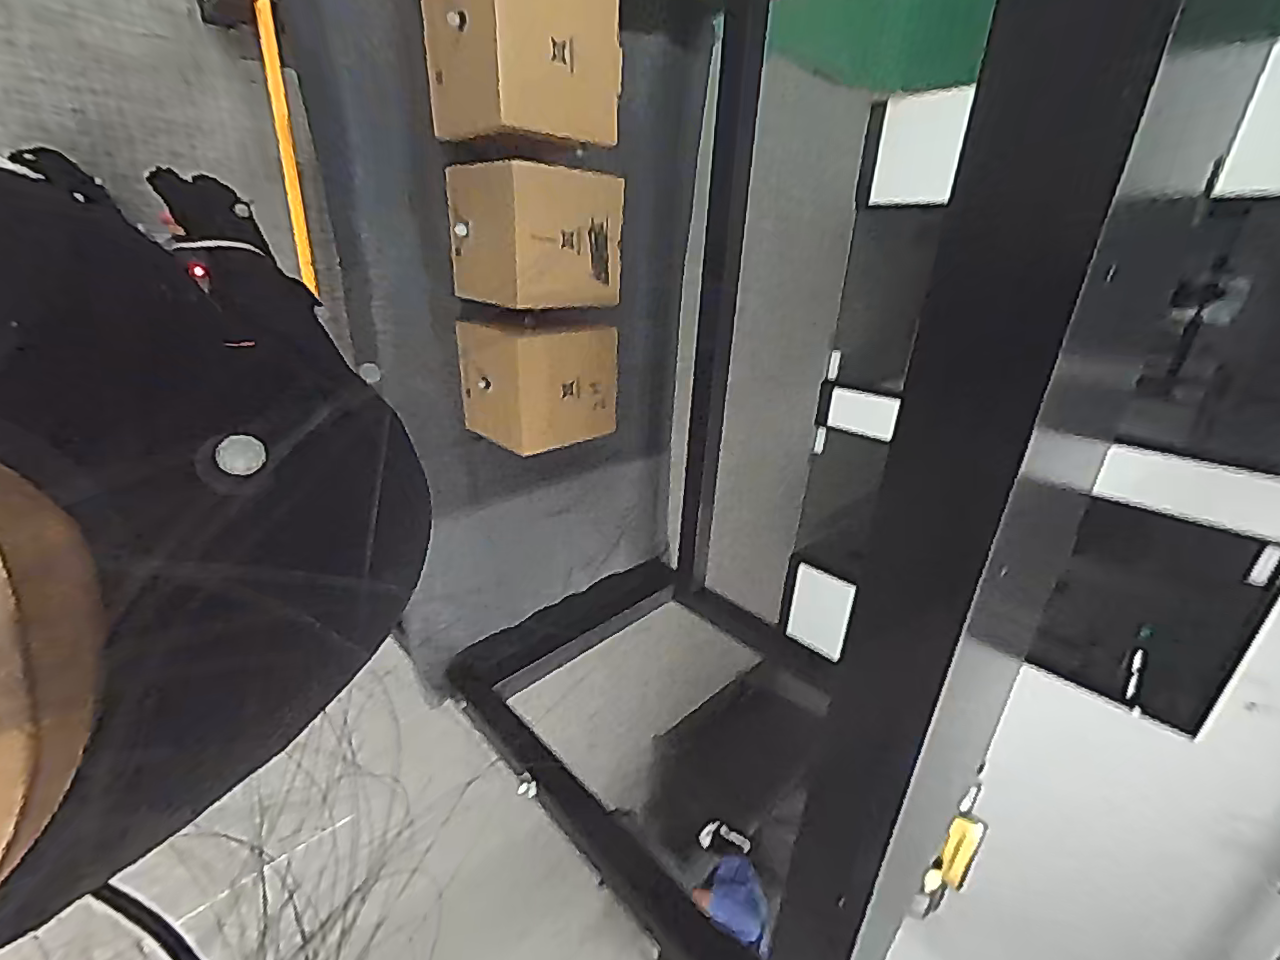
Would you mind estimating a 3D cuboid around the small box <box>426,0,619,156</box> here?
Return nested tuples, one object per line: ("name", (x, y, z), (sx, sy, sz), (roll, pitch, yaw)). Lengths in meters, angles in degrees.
("small box", (-0.147, -0.508, 0.667), (0.179, 0.176, 0.168), (-20, 123, -42))
